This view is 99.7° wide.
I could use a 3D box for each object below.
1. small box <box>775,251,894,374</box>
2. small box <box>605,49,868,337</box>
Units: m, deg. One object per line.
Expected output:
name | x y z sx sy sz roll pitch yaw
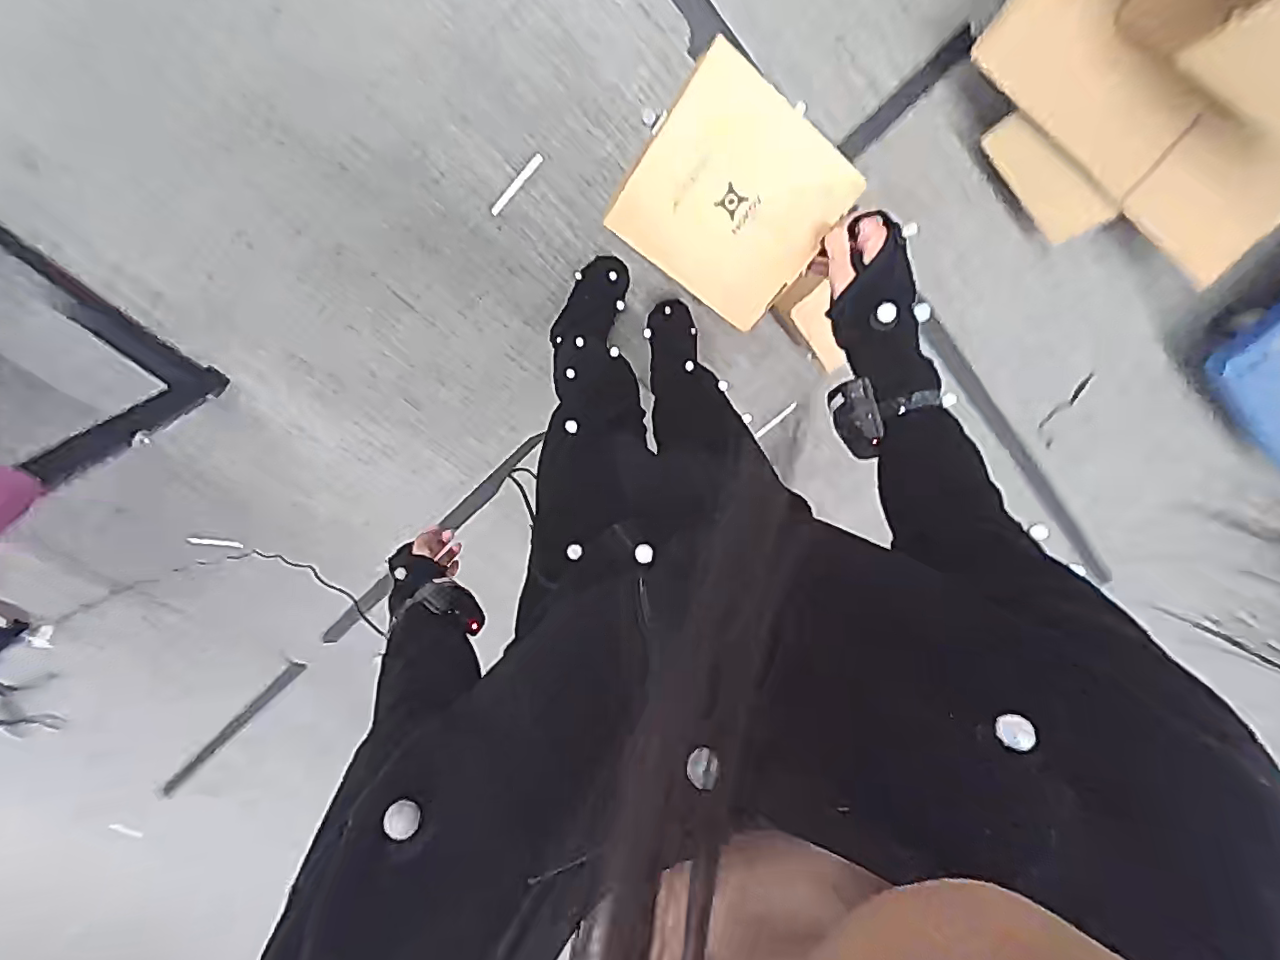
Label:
small box | 0.408 -0.366 1.170 0.168 0.176 0.179 -36 116 16
small box | 0.082 -0.280 0.542 0.179 0.176 0.168 30 116 -19
